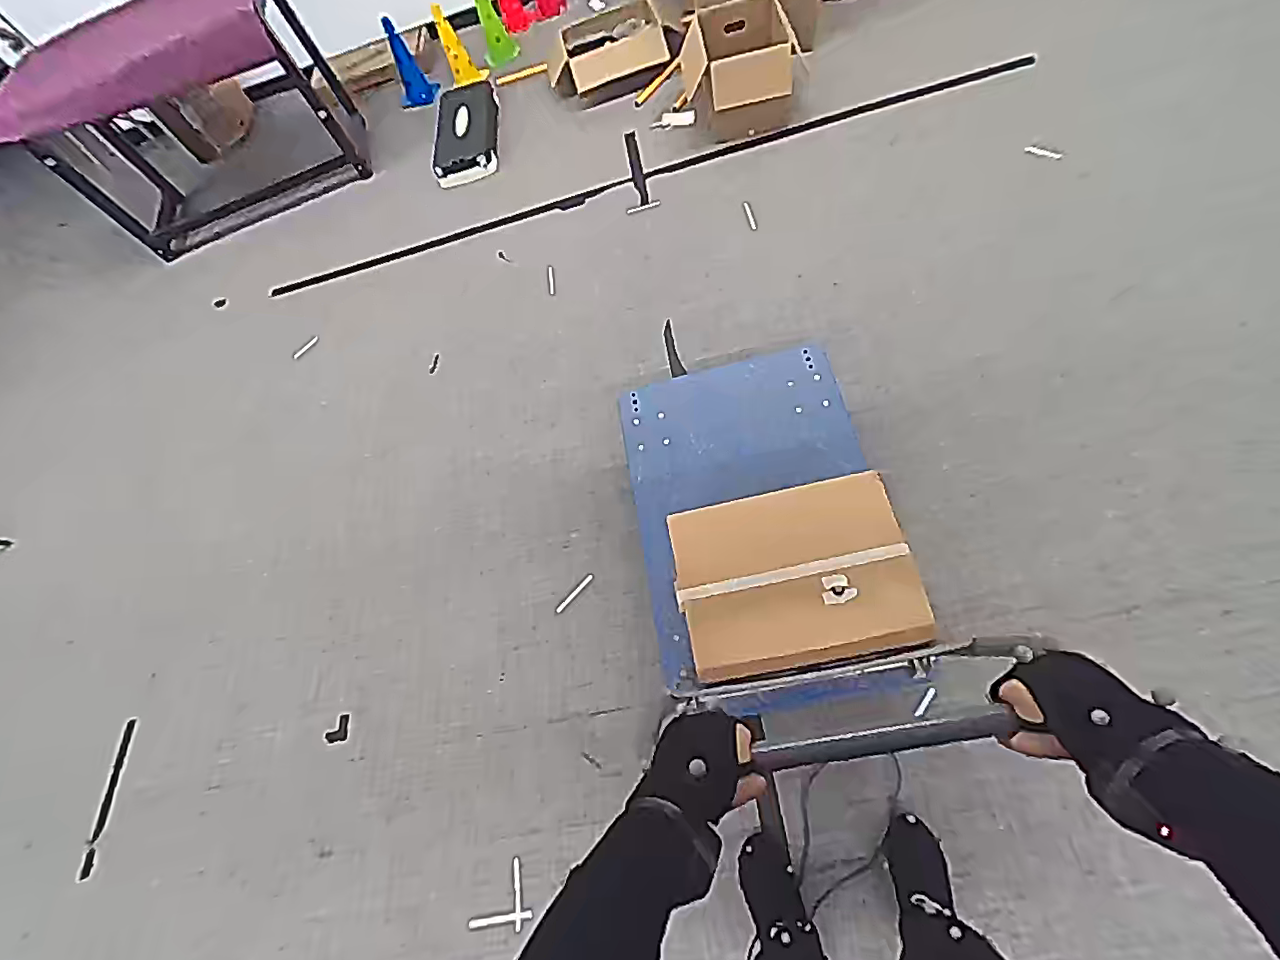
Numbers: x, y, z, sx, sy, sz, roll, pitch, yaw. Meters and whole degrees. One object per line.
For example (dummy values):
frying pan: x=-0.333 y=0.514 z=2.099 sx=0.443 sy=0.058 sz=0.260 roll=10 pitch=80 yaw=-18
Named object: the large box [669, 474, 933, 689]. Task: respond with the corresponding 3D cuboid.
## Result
large box: x=0.299 y=0.228 z=1.113 sx=0.408 sy=0.320 sz=0.320 roll=-13 pitch=67 yaw=6
